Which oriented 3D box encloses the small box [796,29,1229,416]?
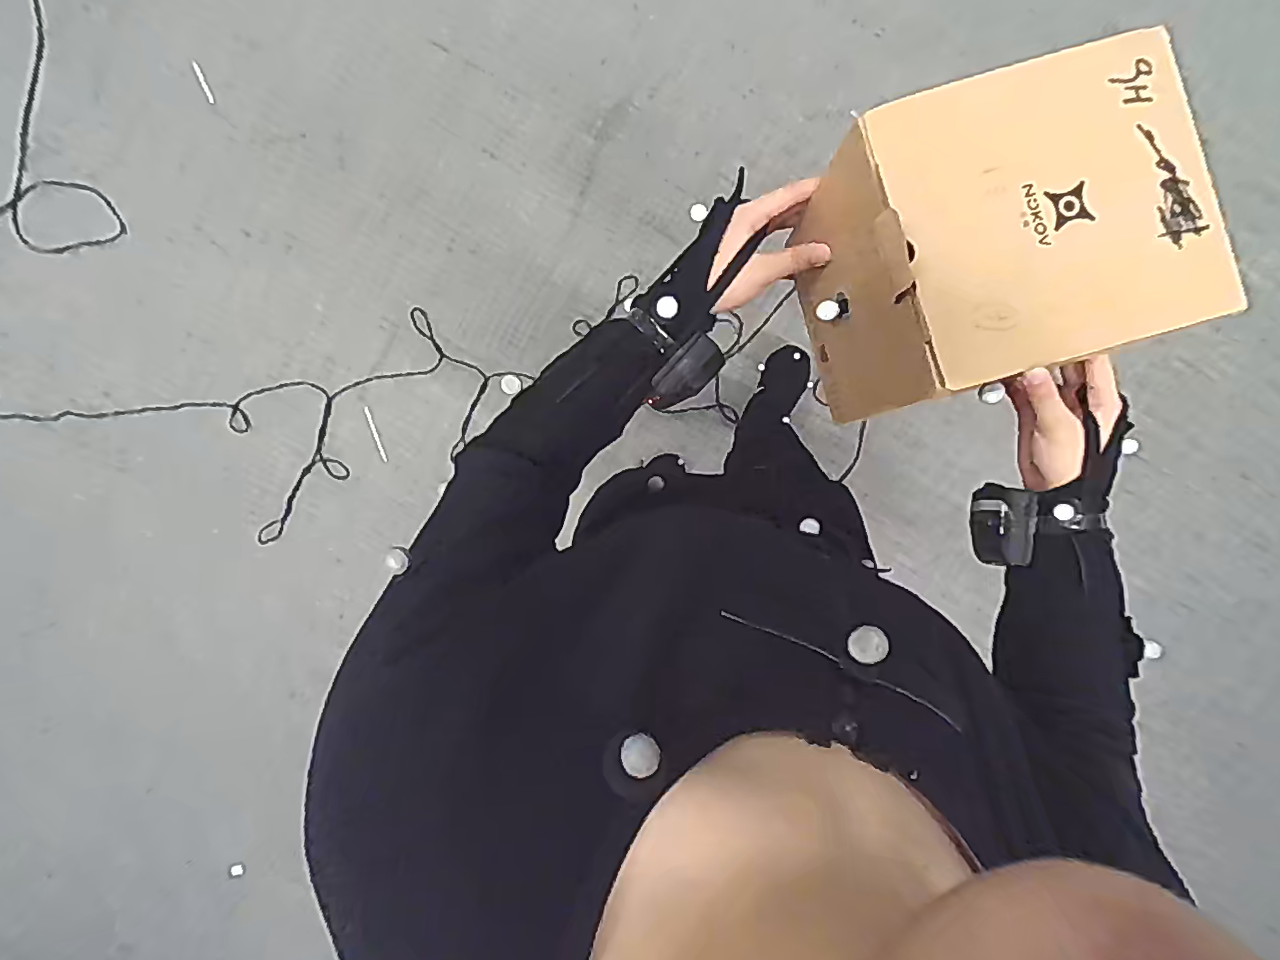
[{"bbox_3d":[0.224,-0.151,0.382,0.179,0.176,0.168,-16,89,1],"label":"small box"}]
